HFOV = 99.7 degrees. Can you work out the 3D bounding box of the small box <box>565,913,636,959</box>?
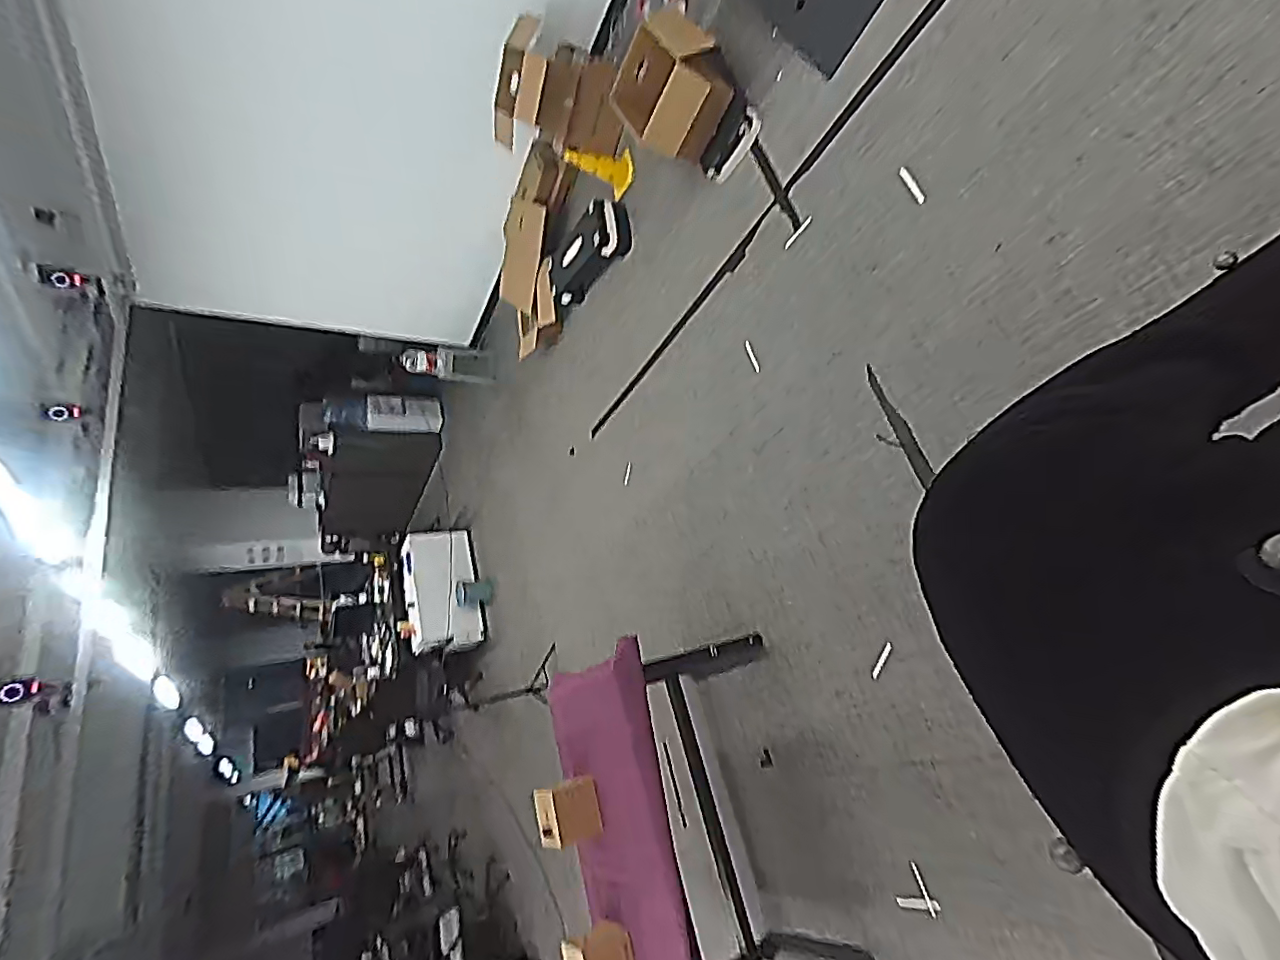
[{"bbox_3d":[-0.124,1.566,1.782,0.179,0.176,0.168,-43,56,47],"label":"small box"}]
